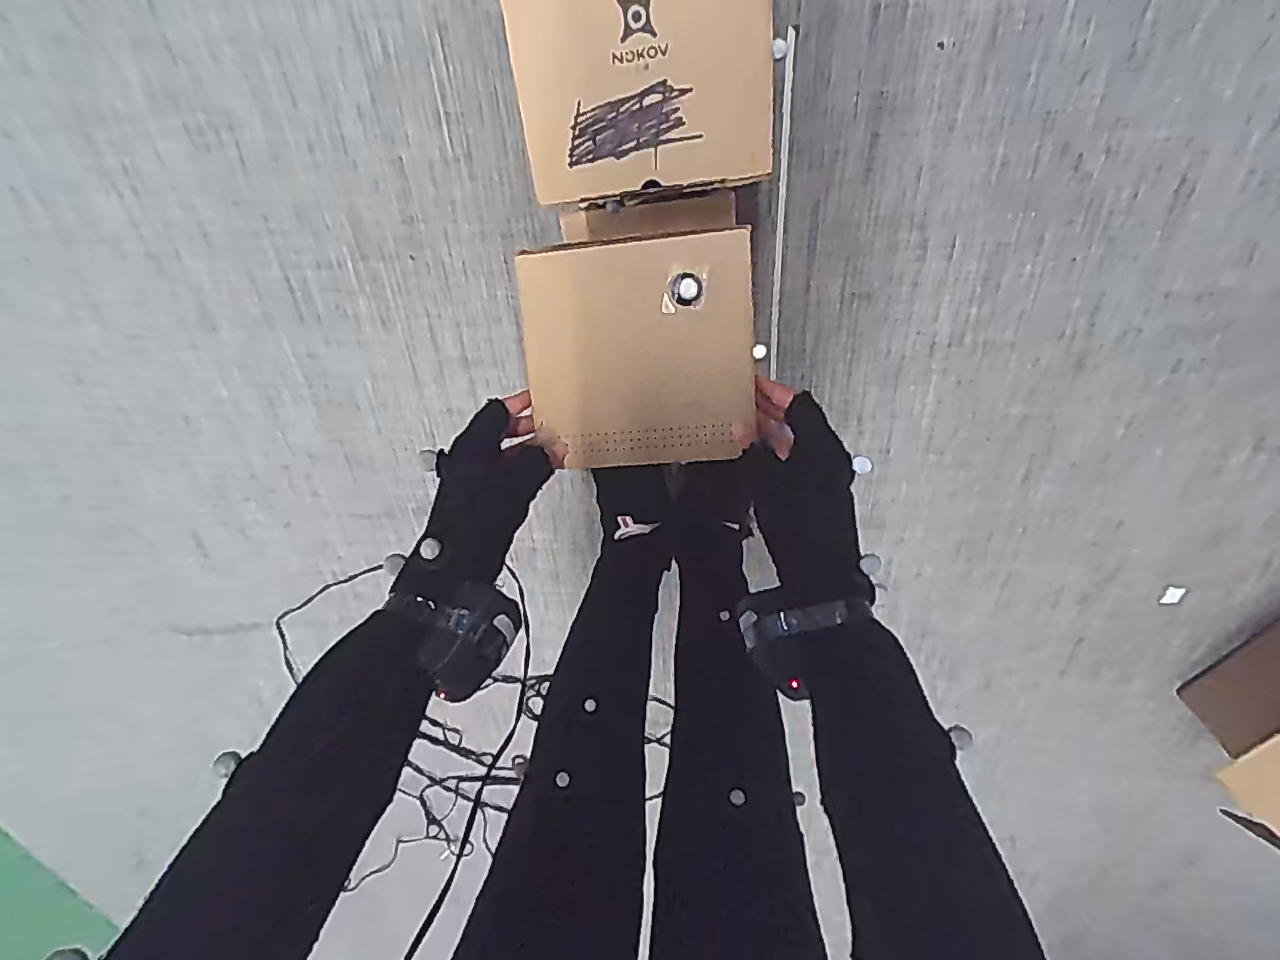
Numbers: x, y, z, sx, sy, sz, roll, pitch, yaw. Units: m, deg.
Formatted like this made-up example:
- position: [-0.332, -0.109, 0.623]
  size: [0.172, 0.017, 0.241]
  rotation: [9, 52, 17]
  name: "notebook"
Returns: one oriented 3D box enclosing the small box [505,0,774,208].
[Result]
- position: [0.010, -0.312, 0.403]
  size: [0.168, 0.176, 0.179]
  rotation: [-3, 118, 9]
  name: "small box"
